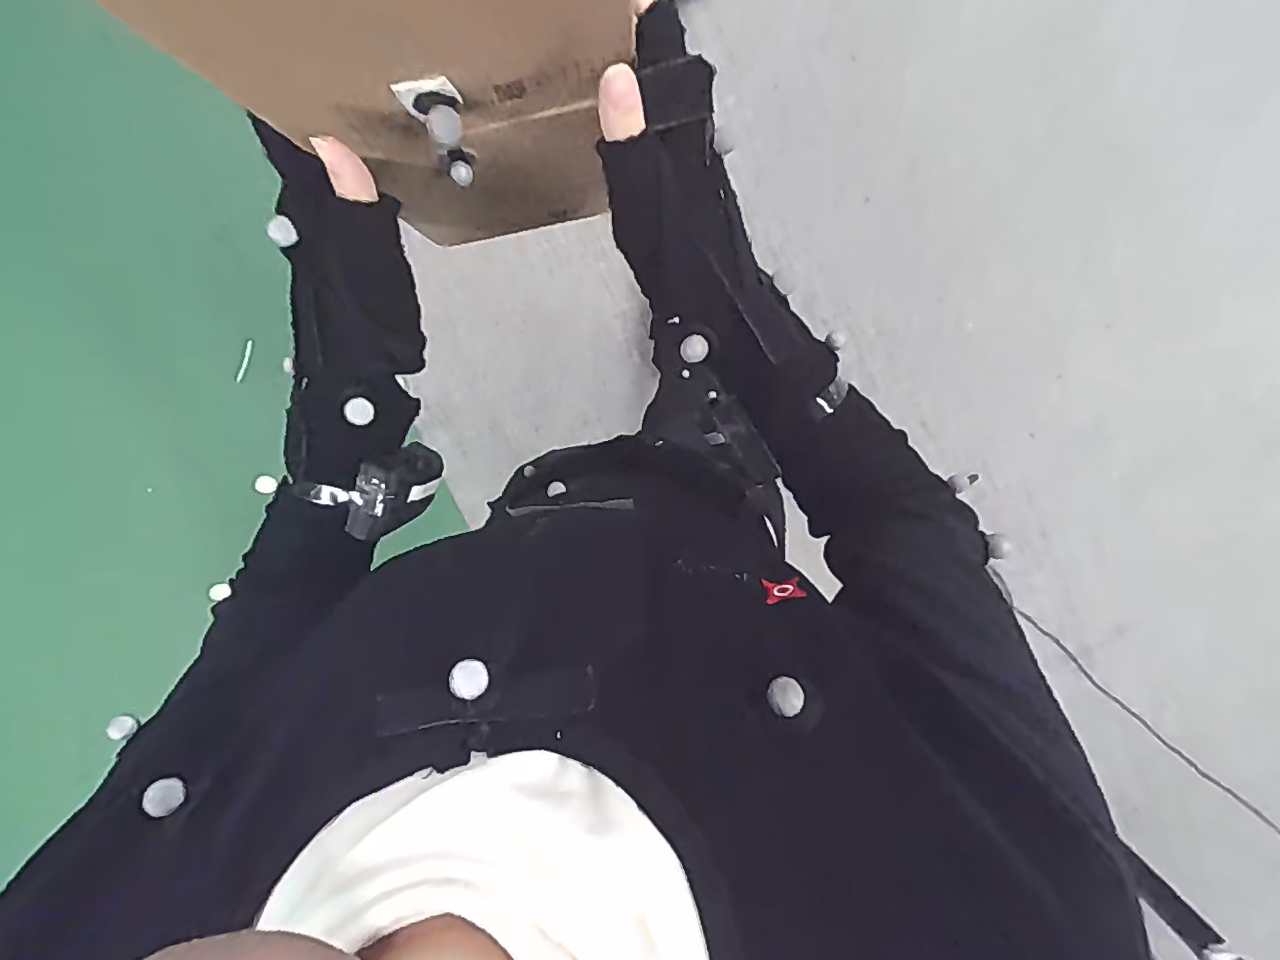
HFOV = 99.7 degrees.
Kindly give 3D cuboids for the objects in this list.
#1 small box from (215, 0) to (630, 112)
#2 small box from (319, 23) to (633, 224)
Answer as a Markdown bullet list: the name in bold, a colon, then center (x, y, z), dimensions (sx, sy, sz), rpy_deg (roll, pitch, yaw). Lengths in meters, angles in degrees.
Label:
- **small box**: center (-0.101, -0.267, 0.173), dimensions (0.168, 0.176, 0.179), rpy_deg (-14, 100, 3)
- **small box**: center (-0.100, -0.295, 0.352), dimensions (0.168, 0.176, 0.179), rpy_deg (-11, 99, 2)
